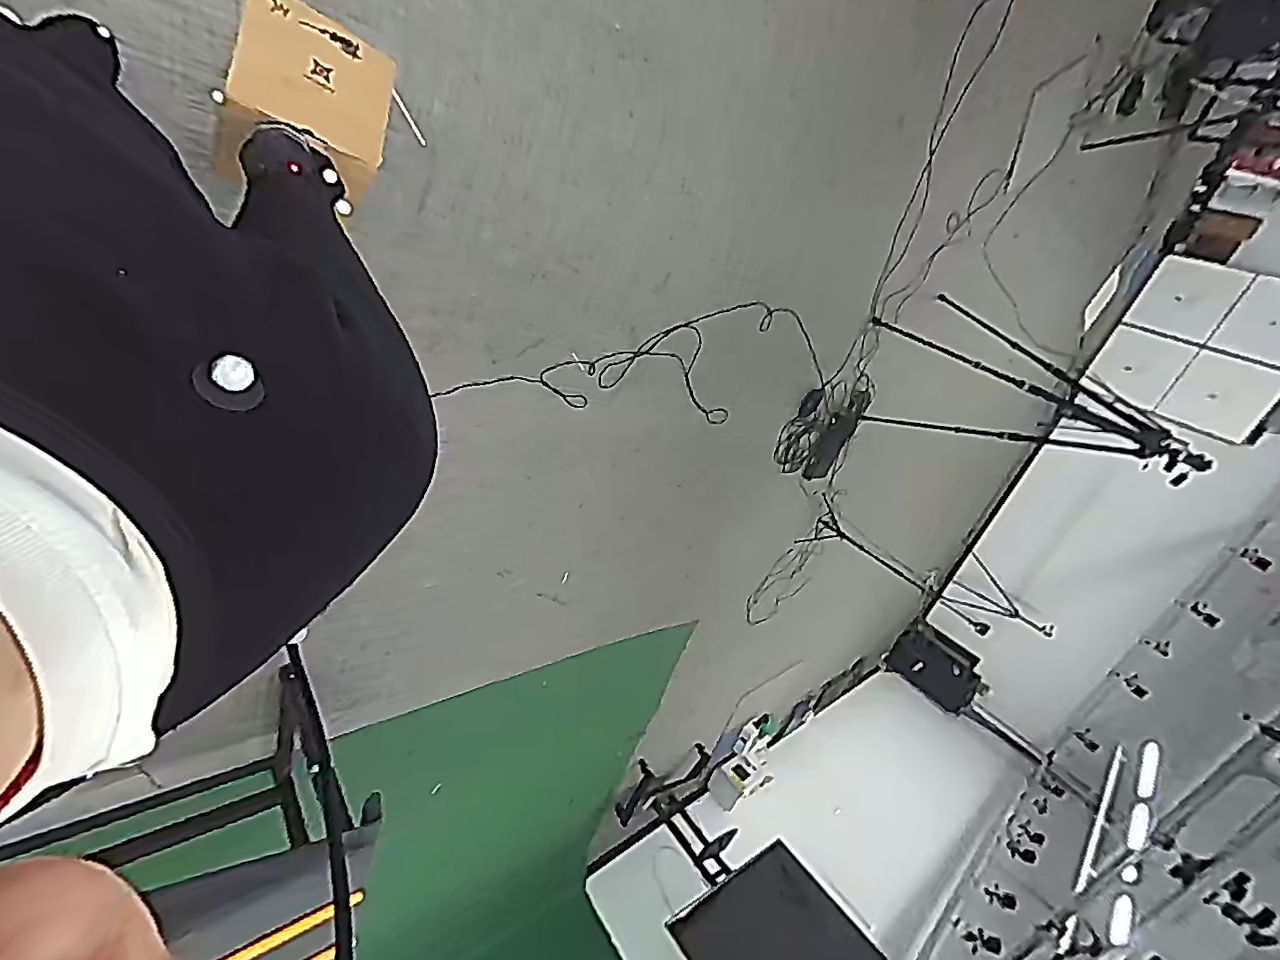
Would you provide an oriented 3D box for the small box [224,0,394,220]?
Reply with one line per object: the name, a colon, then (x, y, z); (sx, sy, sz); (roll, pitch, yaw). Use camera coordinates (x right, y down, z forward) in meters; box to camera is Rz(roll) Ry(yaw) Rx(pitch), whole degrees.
small box: (-0.452, -0.496, 0.737); (0.168, 0.176, 0.179); (9, 76, -38)
